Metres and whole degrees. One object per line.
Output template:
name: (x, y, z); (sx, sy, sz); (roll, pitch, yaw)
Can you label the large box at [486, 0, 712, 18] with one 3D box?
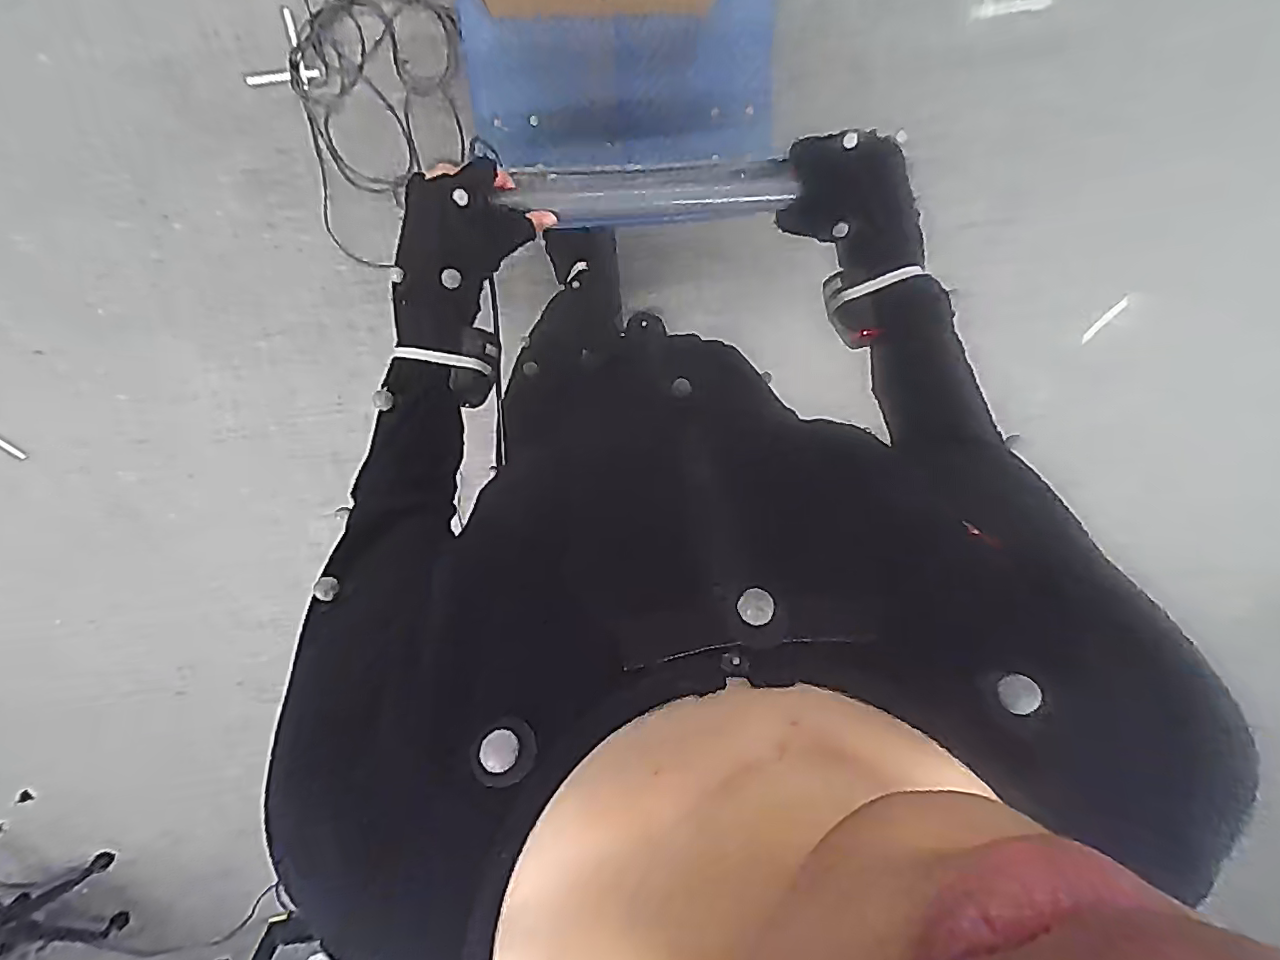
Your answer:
large box: (-0.068, -0.930, 0.794); (0.408, 0.320, 0.320); (-3, 113, -2)
